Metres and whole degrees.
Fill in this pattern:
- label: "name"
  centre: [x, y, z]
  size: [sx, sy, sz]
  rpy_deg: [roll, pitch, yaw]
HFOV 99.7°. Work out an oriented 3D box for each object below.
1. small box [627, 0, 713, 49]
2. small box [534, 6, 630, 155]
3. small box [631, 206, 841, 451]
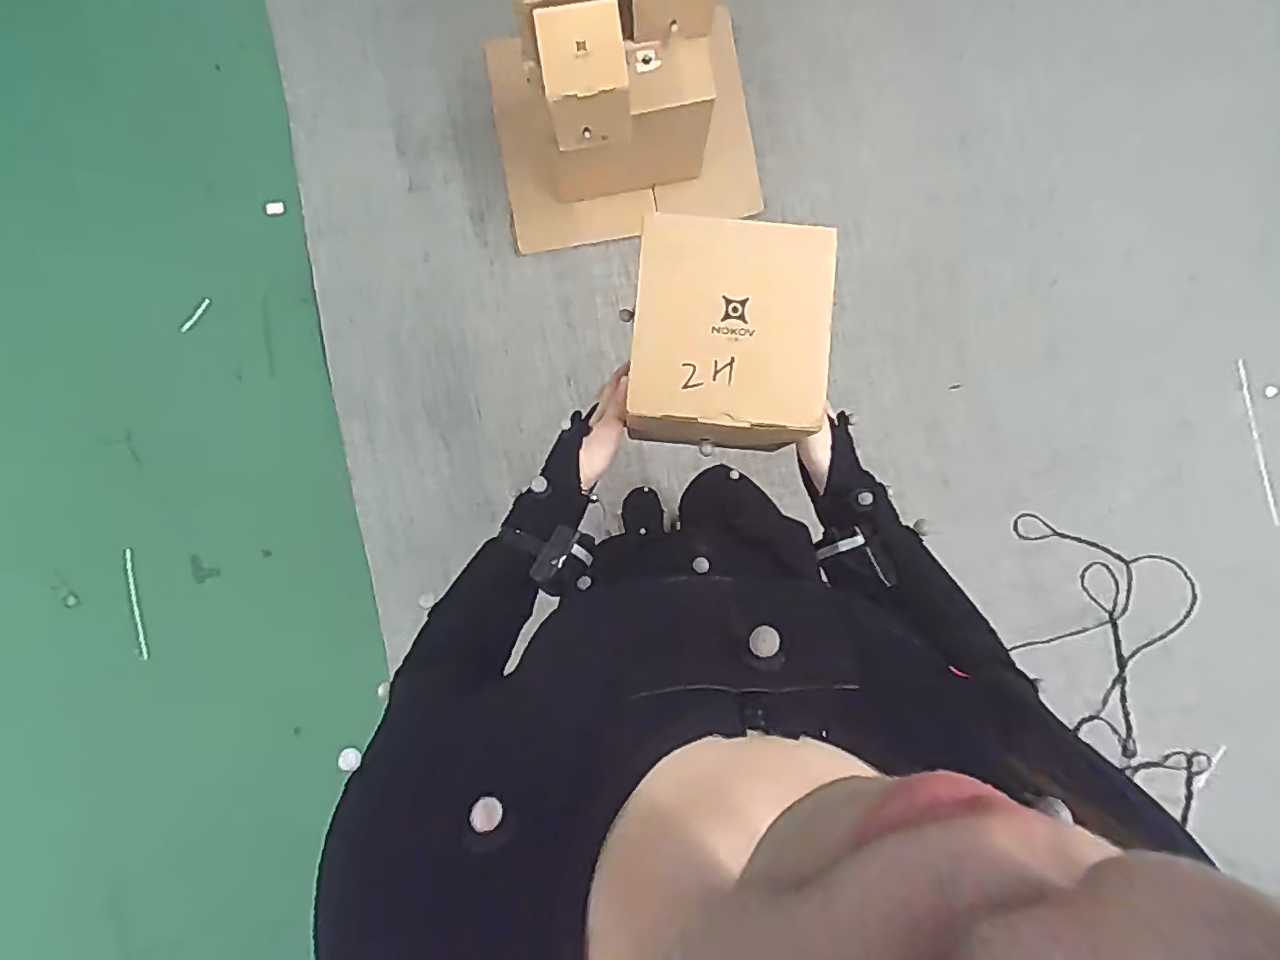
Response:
- label: "small box"
  centre: [0.058, -1.048, 1.124]
  size: [0.179, 0.176, 0.168]
  rpy_deg: [-6, 89, 2]
- label: "small box"
  centre: [-0.115, -0.818, 1.121]
  size: [0.168, 0.176, 0.179]
  rpy_deg: [-9, 91, -1]
- label: "small box"
  centre: [0.080, -0.132, 0.527]
  size: [0.168, 0.176, 0.179]
  rpy_deg: [5, 86, 1]
